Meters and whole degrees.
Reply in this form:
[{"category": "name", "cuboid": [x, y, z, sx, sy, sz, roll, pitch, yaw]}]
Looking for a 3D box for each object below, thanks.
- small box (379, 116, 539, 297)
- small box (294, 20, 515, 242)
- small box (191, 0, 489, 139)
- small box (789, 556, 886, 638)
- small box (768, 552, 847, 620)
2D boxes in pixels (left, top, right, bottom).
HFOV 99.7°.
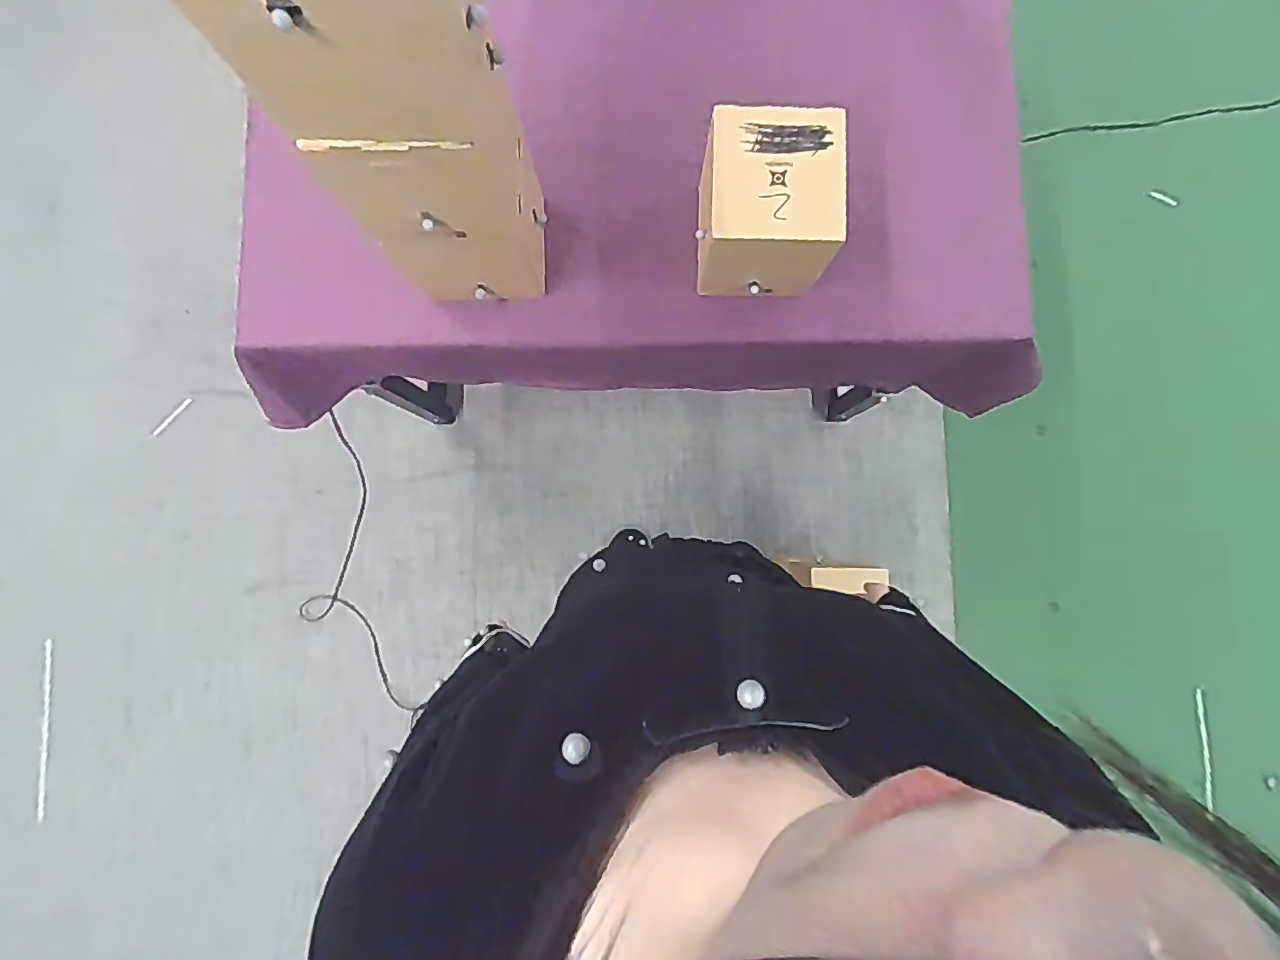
[{"category": "small box", "cuboid": [-0.236, -0.366, 0.748, 0.179, 0.176, 0.168, -2, 85, -1]}, {"category": "small box", "cuboid": [-0.236, -0.384, 0.584, 0.168, 0.176, 0.179, 0, 85, 0]}, {"category": "small box", "cuboid": [-0.231, -0.399, 0.420, 0.179, 0.176, 0.168, 1, 85, -1]}, {"category": "small box", "cuboid": [0.455, 0.269, 1.268, 0.179, 0.176, 0.168, 1, 87, -1]}, {"category": "small box", "cuboid": [0.445, 0.280, 1.431, 0.179, 0.176, 0.168, 4, 86, -1]}]
